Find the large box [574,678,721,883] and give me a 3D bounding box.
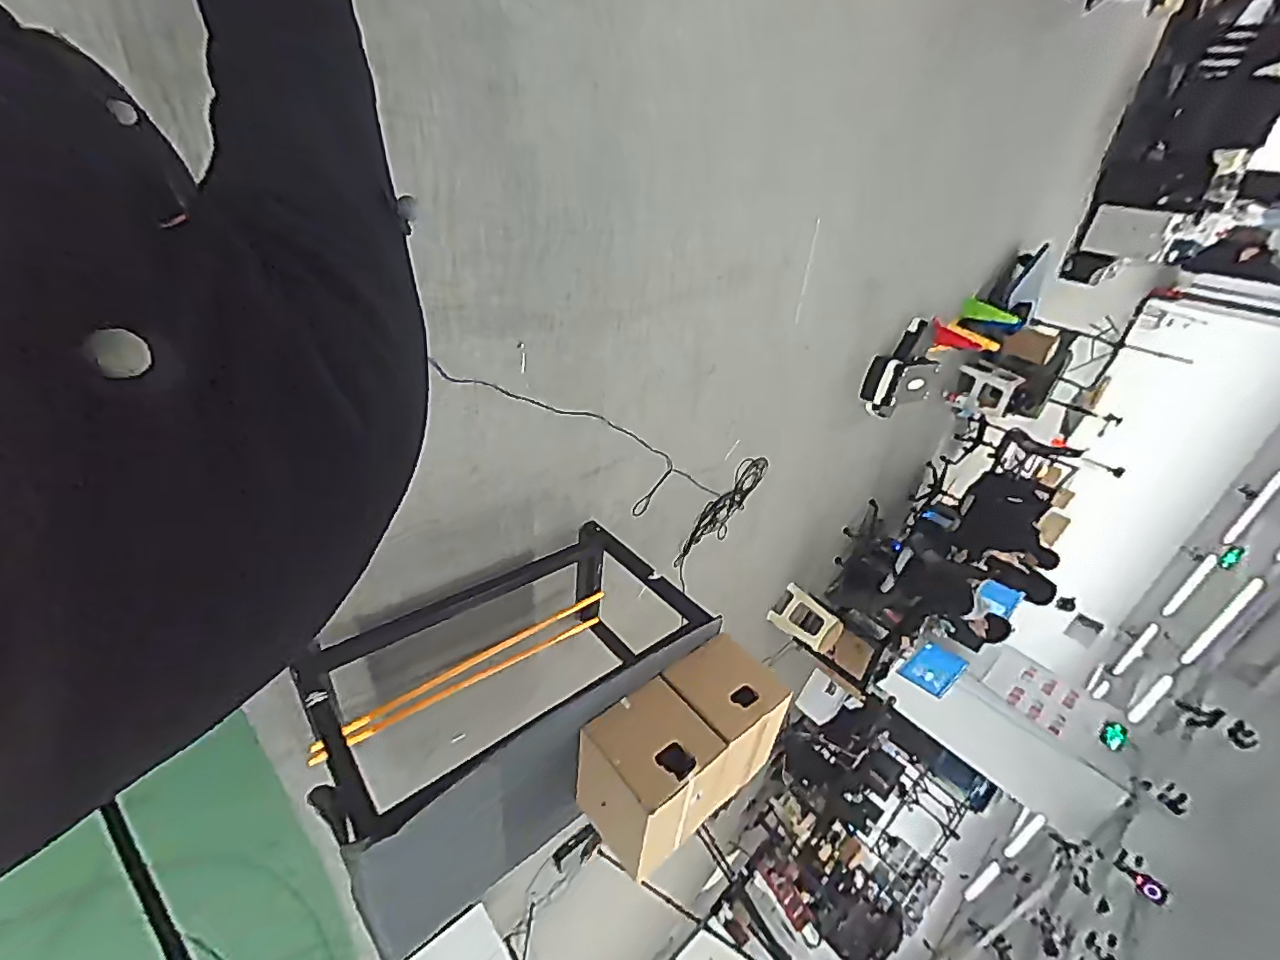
[{"bbox_3d":[0.009,0.903,1.651,0.320,0.320,0.408,-22,130,-37],"label":"large box"}]
